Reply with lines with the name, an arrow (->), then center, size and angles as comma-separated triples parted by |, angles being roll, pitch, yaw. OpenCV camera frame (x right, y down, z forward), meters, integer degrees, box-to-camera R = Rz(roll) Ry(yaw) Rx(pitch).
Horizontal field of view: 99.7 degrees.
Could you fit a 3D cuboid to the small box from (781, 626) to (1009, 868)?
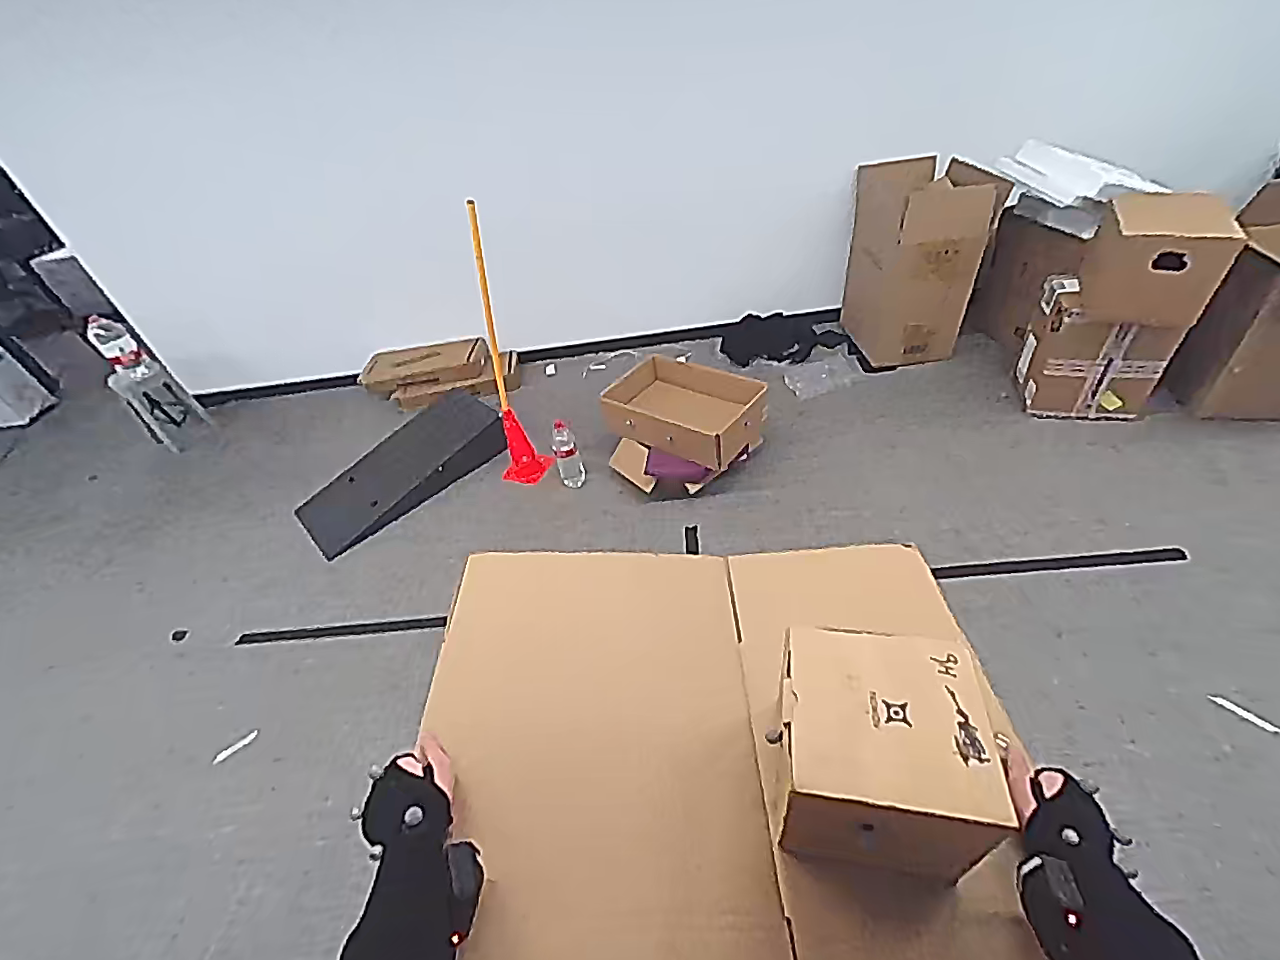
small box -> 0.239, 0.274, 0.560 | 0.179, 0.176, 0.168 | 2, 43, 13
